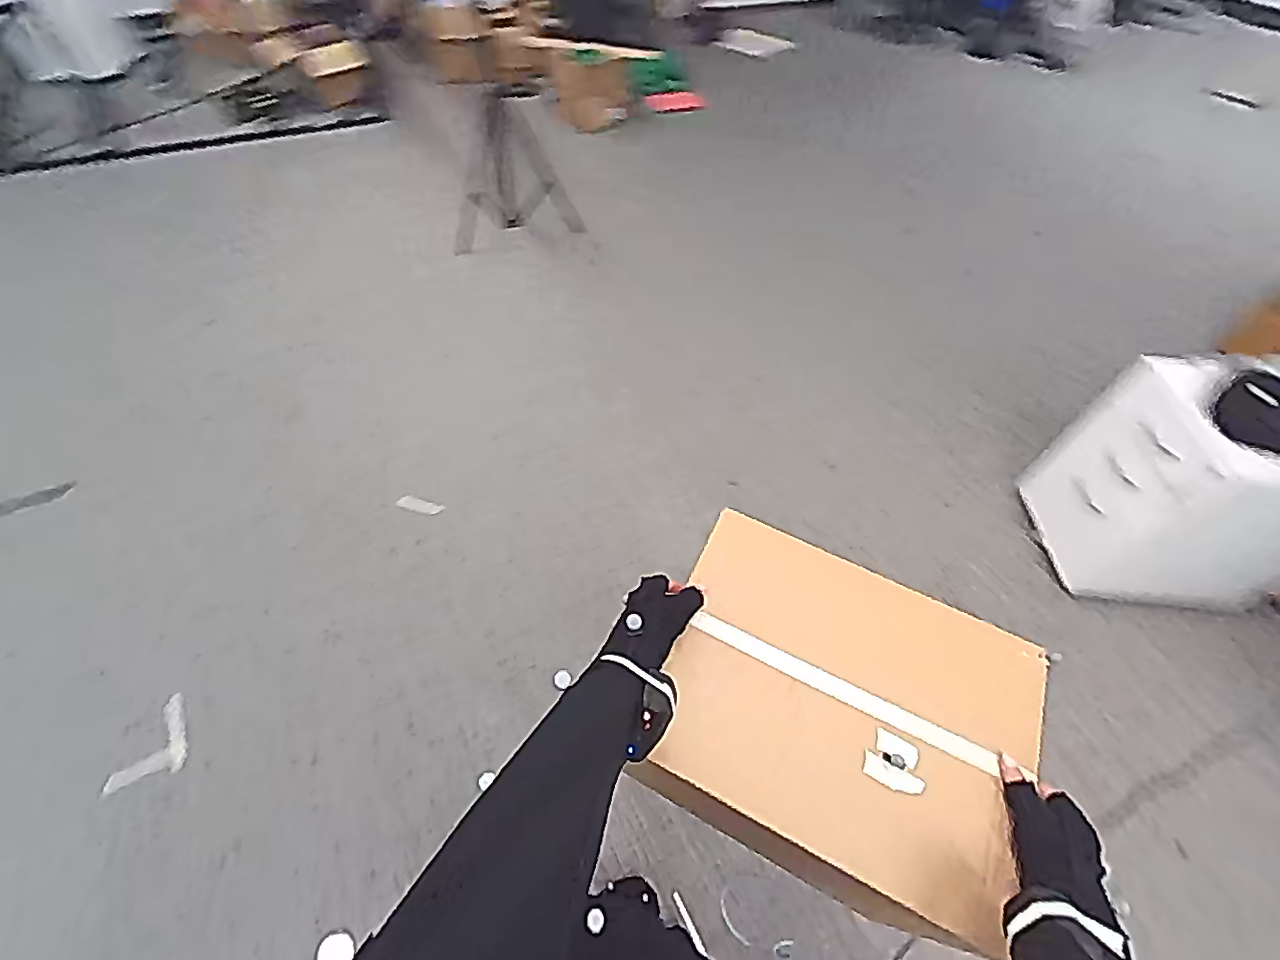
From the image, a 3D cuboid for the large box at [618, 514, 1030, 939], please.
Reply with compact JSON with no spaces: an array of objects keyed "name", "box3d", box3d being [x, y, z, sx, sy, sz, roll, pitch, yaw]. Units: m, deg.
[{"name":"large box","box3d":[0.212,0.310,0.729,0.408,0.320,0.320,24,60,12]}]
